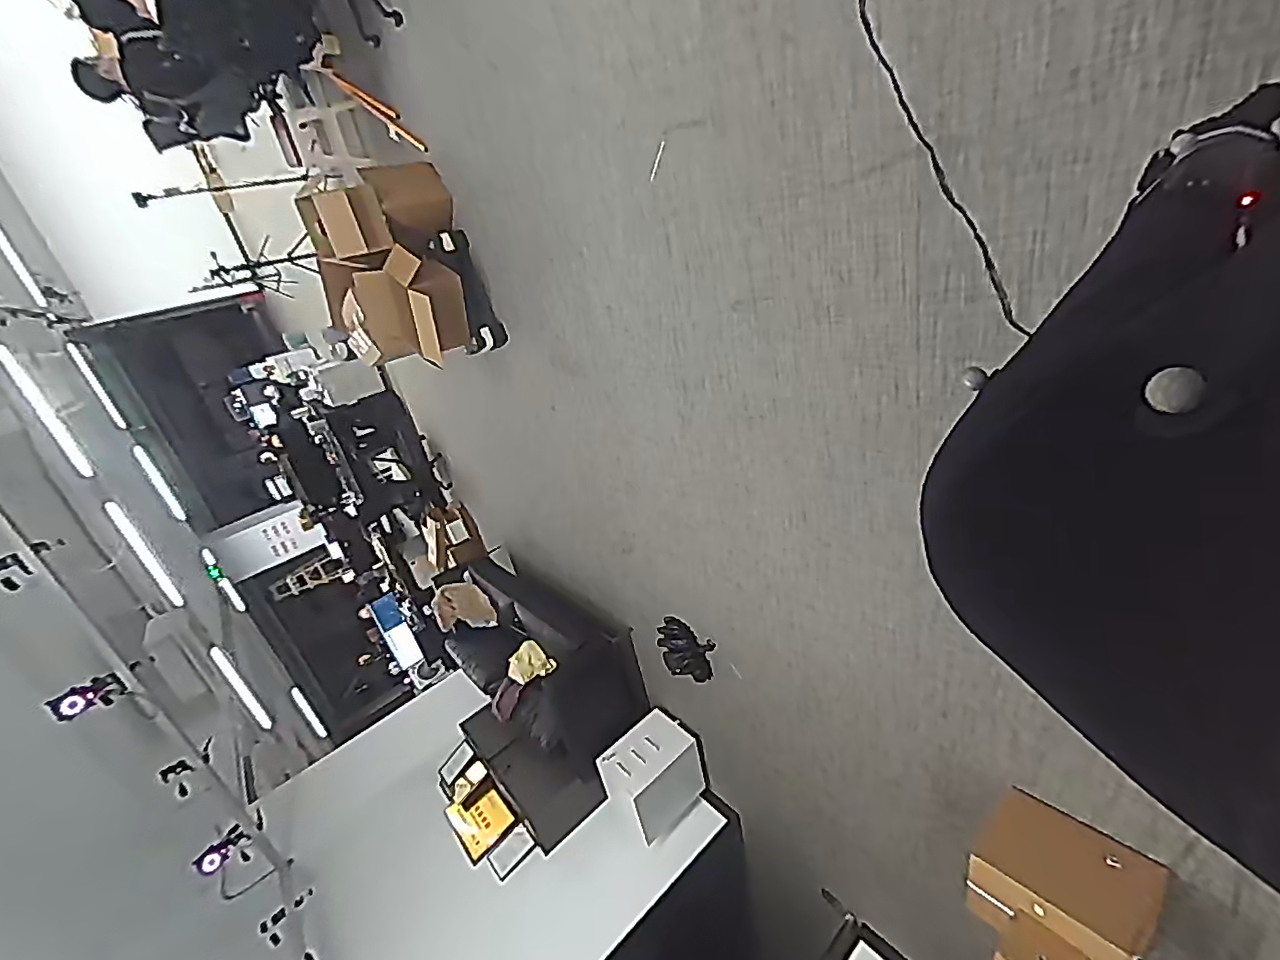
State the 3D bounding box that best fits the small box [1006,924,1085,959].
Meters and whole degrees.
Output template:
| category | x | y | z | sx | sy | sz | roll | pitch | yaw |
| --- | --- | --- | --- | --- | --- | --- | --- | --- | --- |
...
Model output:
| category | x | y | z | sx | sy | sz | roll | pitch | yaw |
| --- | --- | --- | --- | --- | --- | --- | --- | --- | --- |
| small box | 1.142 | 1.407 | 1.521 | 0.179 | 0.176 | 0.168 | 24 | 129 | 45 |
